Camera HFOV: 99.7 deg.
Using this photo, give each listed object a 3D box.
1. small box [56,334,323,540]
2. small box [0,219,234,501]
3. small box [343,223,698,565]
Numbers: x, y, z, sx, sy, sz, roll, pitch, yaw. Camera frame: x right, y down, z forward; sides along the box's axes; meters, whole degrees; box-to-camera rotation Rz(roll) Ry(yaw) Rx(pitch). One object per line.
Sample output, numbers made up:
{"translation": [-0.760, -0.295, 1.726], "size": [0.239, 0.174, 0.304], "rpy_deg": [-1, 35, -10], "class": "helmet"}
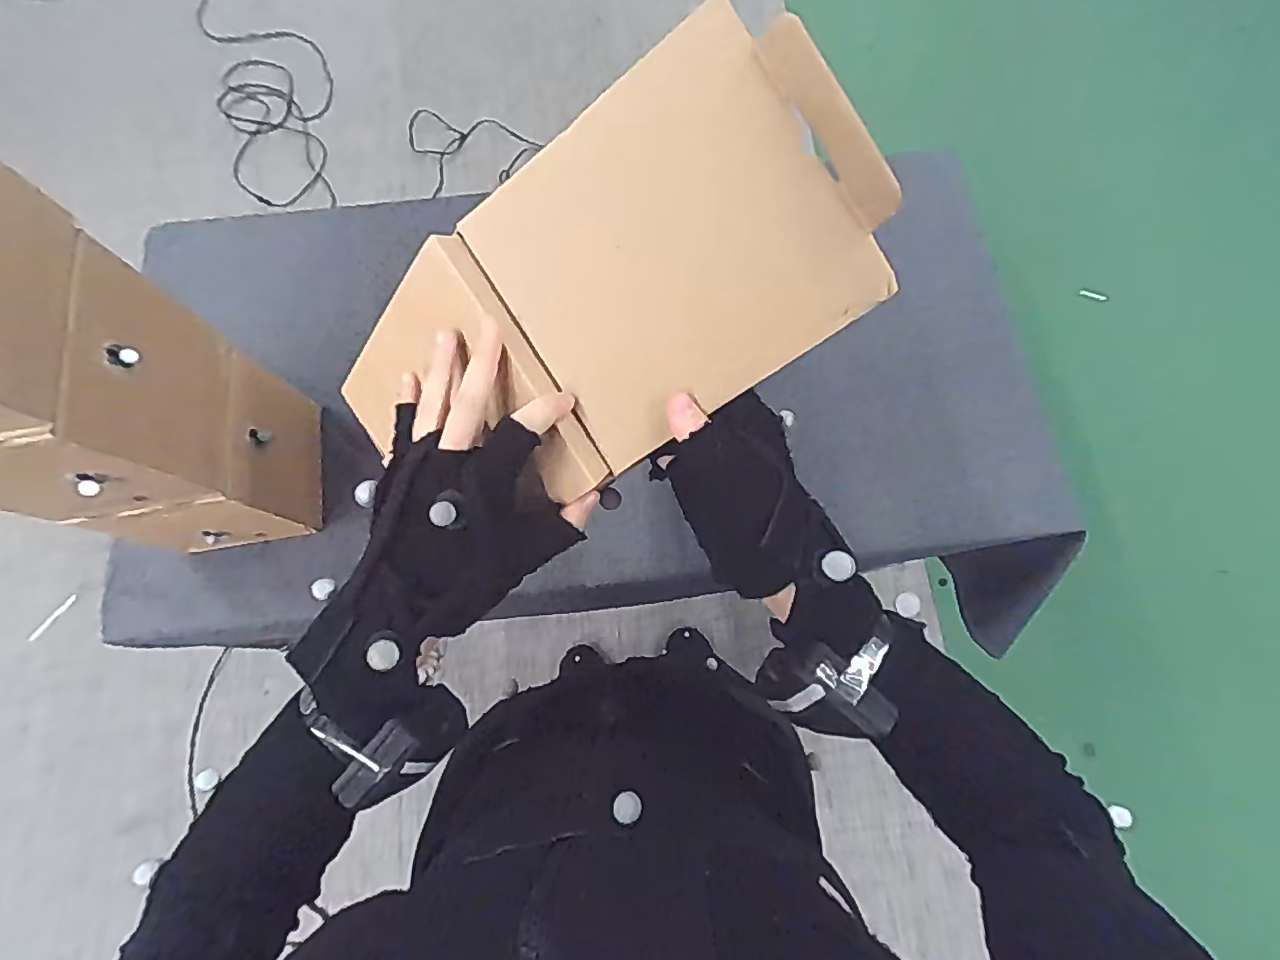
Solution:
{"translation": [-0.492, -0.040, 0.622], "size": [0.168, 0.176, 0.179], "rpy_deg": [-9, 75, -3], "class": "small box"}
{"translation": [-0.491, -0.086, 0.466], "size": [0.168, 0.176, 0.179], "rpy_deg": [-8, 75, -3], "class": "small box"}
{"translation": [-0.076, -0.066, 0.414], "size": [0.179, 0.176, 0.168], "rpy_deg": [-31, 92, 35], "class": "small box"}
